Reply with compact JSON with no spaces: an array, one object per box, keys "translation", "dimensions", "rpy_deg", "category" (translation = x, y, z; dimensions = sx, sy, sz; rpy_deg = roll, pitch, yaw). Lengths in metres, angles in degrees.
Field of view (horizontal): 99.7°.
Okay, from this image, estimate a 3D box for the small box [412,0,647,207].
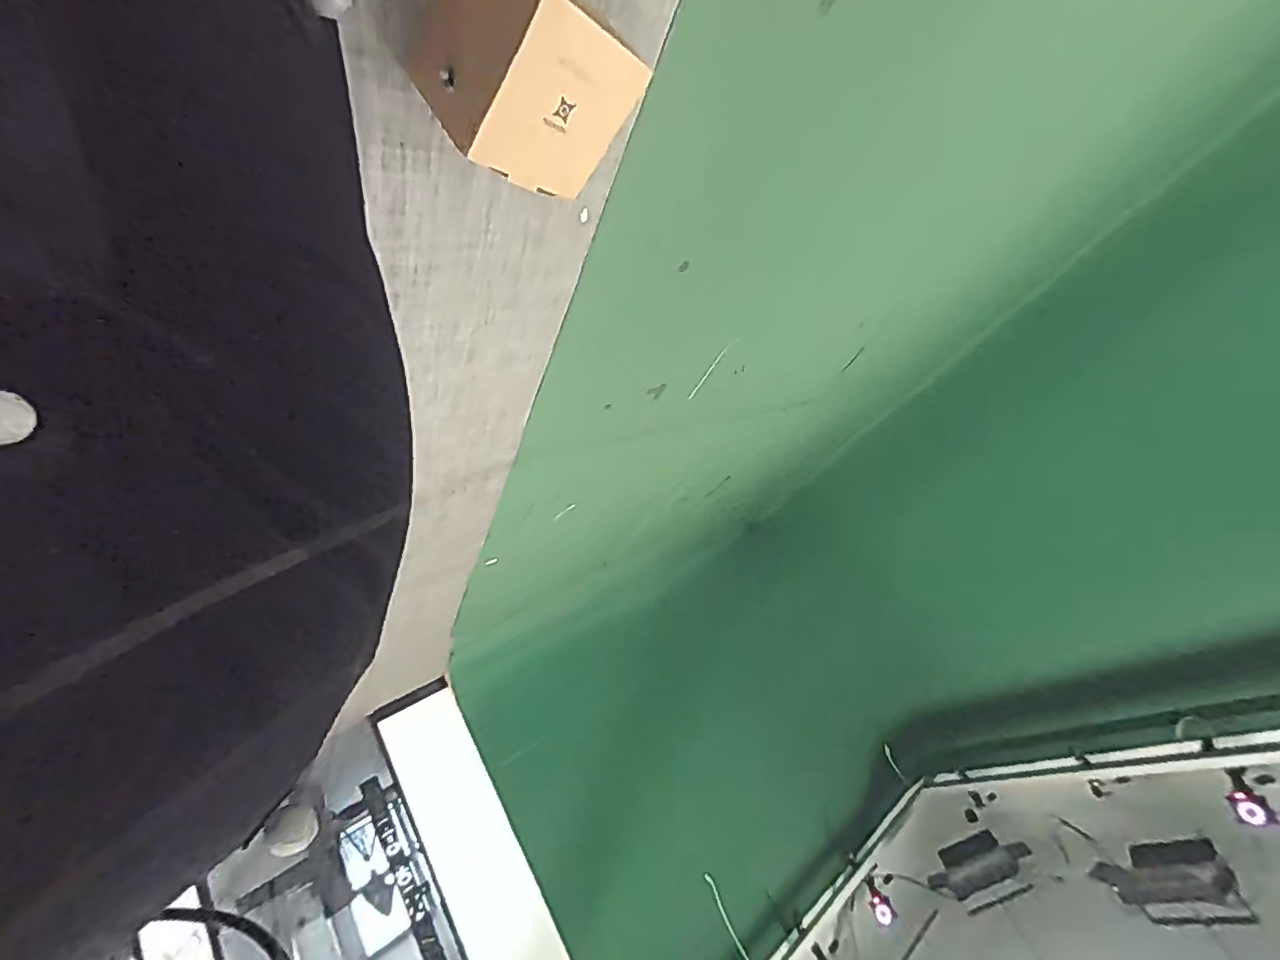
[{"translation":[-0.131,-0.458,0.612],"dimensions":[0.168,0.176,0.179],"rpy_deg":[-12,152,-52],"category":"small box"}]
